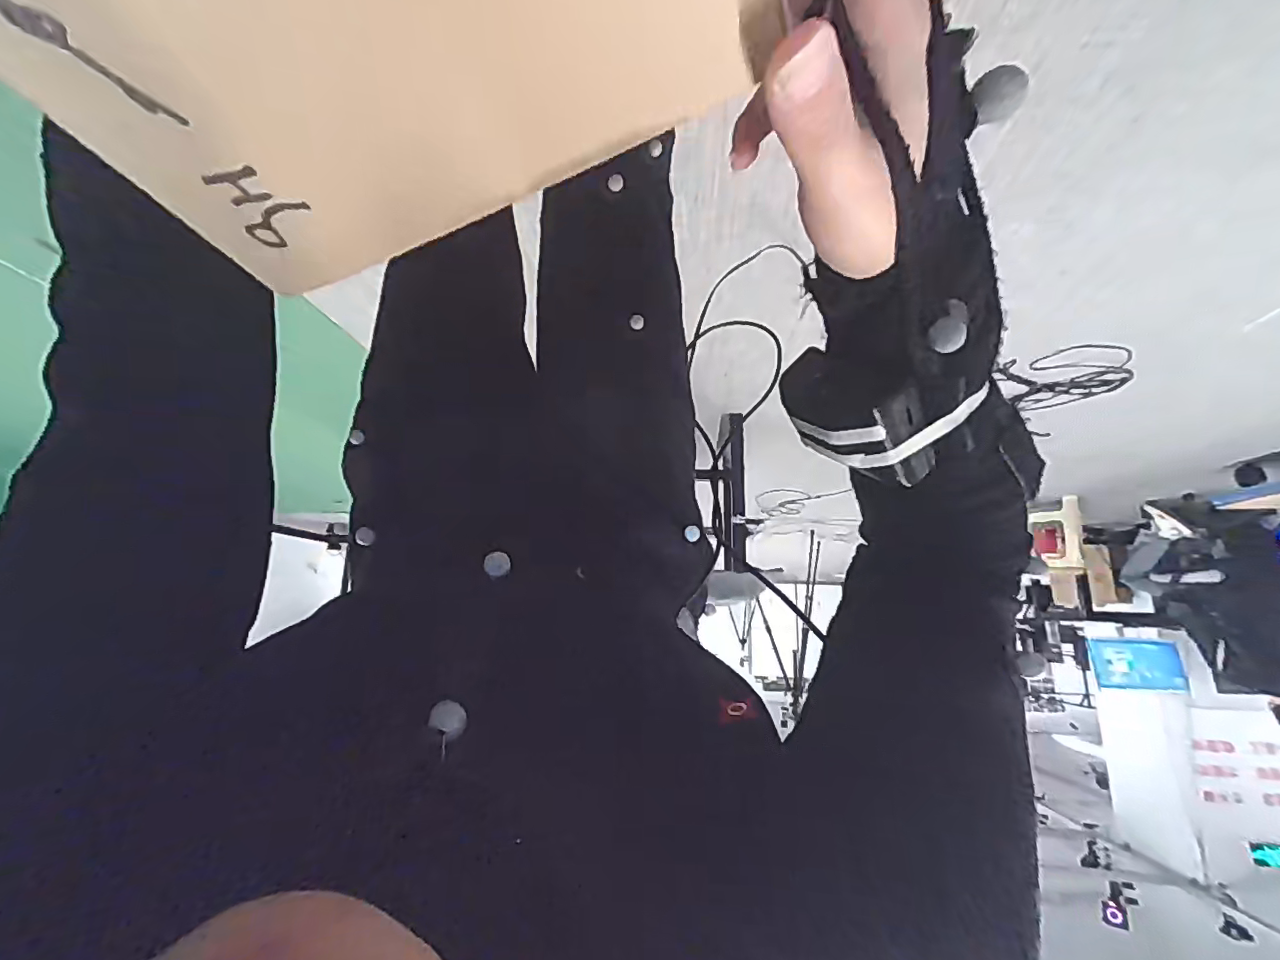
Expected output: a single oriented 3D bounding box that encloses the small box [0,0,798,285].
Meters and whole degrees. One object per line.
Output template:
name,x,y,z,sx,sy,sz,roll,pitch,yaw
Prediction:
small box,-0.075,-0.190,0.130,0.179,0.176,0.168,-13,149,18
